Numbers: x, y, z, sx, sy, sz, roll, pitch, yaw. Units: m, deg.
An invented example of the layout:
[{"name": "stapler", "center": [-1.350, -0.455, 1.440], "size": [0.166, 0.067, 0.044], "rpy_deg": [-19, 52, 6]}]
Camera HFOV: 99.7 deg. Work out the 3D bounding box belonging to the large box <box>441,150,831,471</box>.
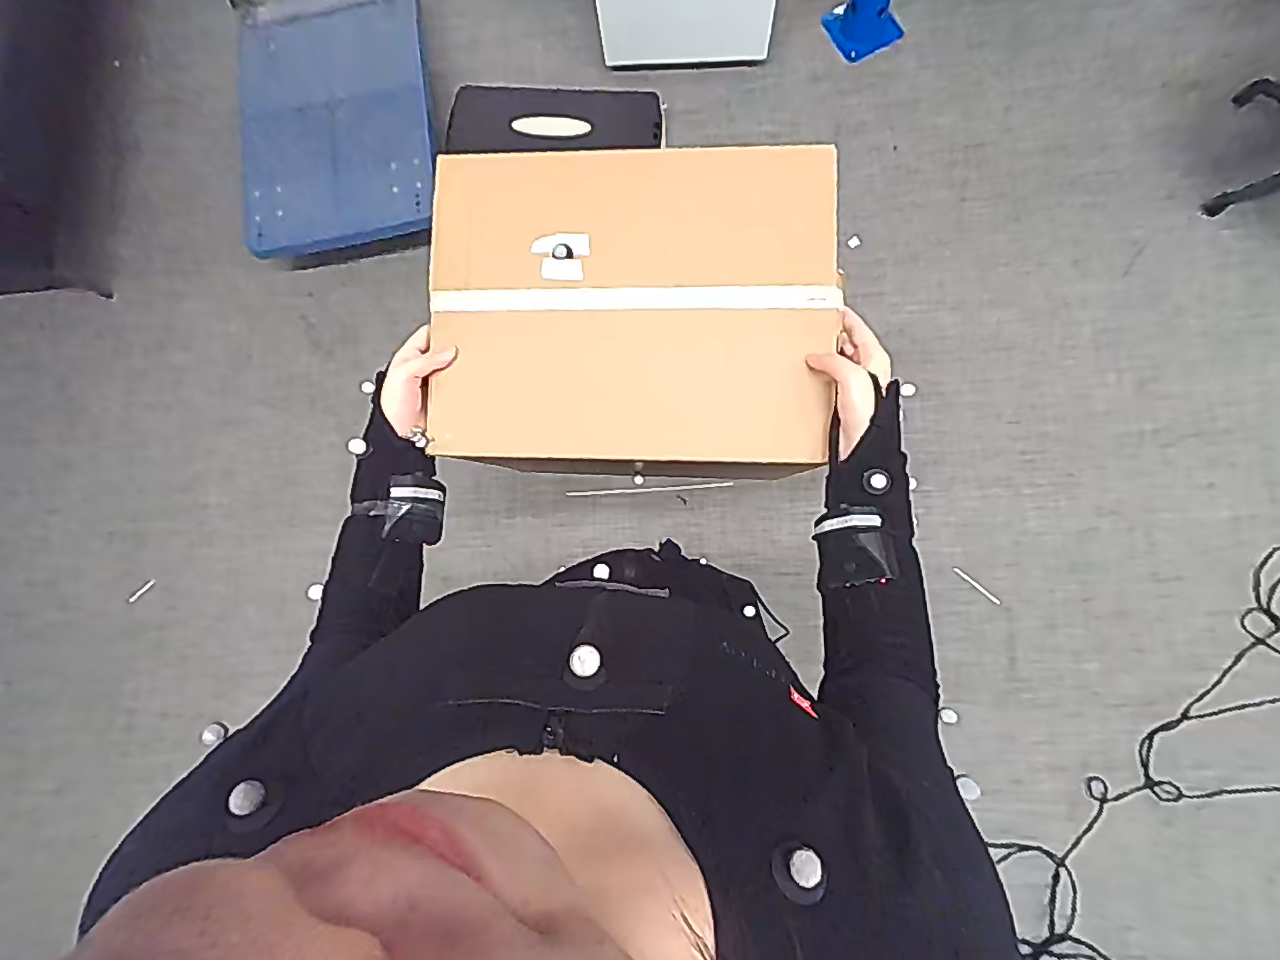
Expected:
[{"name": "large box", "center": [0.007, -0.170, 0.698], "size": [0.408, 0.320, 0.320], "rpy_deg": [1, 87, 6]}]
